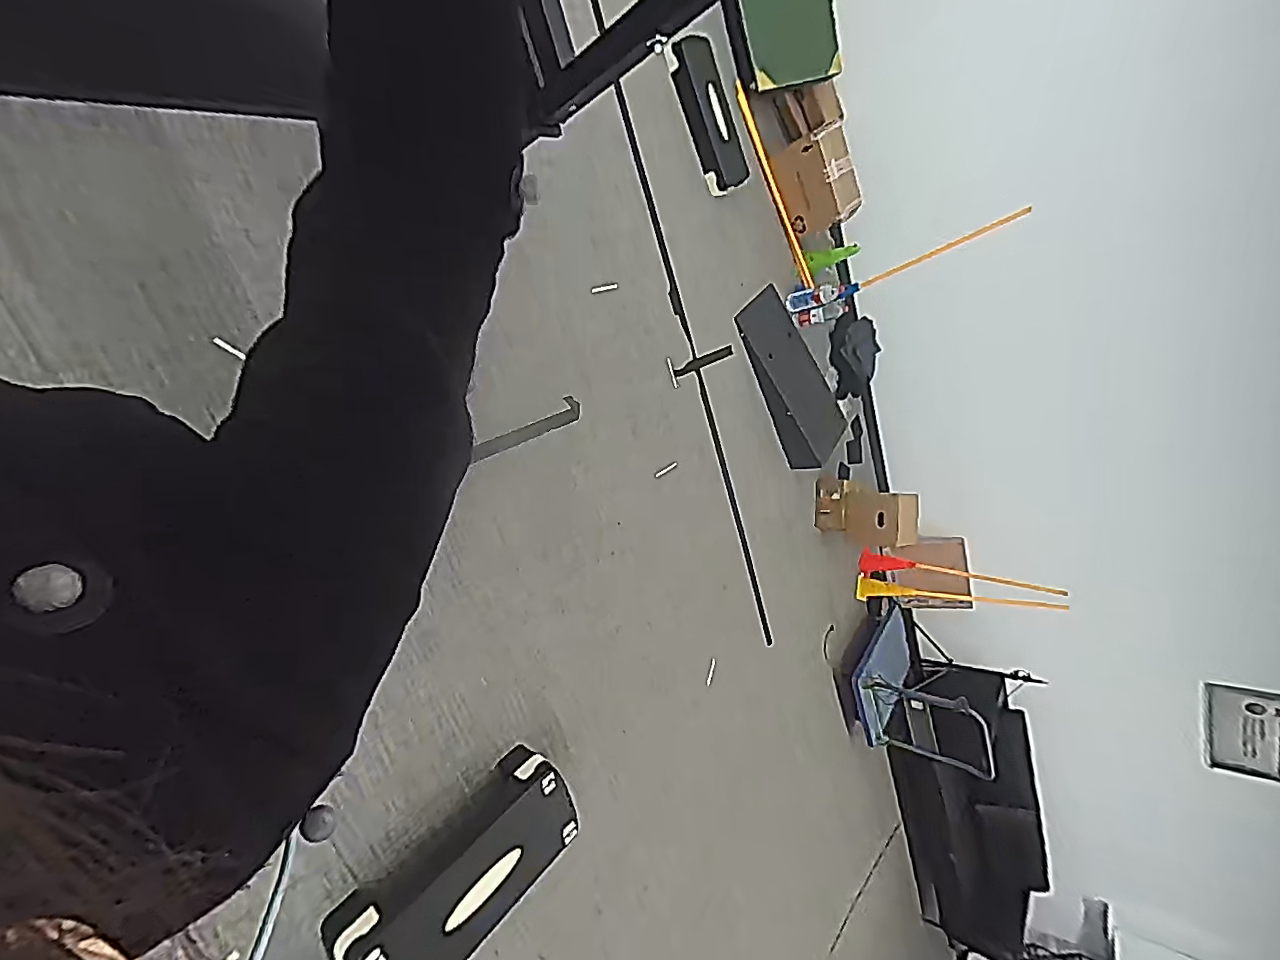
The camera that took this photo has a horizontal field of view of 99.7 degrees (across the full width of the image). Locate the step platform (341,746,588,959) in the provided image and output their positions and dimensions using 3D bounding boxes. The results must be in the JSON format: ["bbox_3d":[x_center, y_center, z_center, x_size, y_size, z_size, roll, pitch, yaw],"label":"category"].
[{"bbox_3d":[-0.458,1.108,1.563,0.684,0.204,0.286,-25,105,-46],"label":"step platform"}]
